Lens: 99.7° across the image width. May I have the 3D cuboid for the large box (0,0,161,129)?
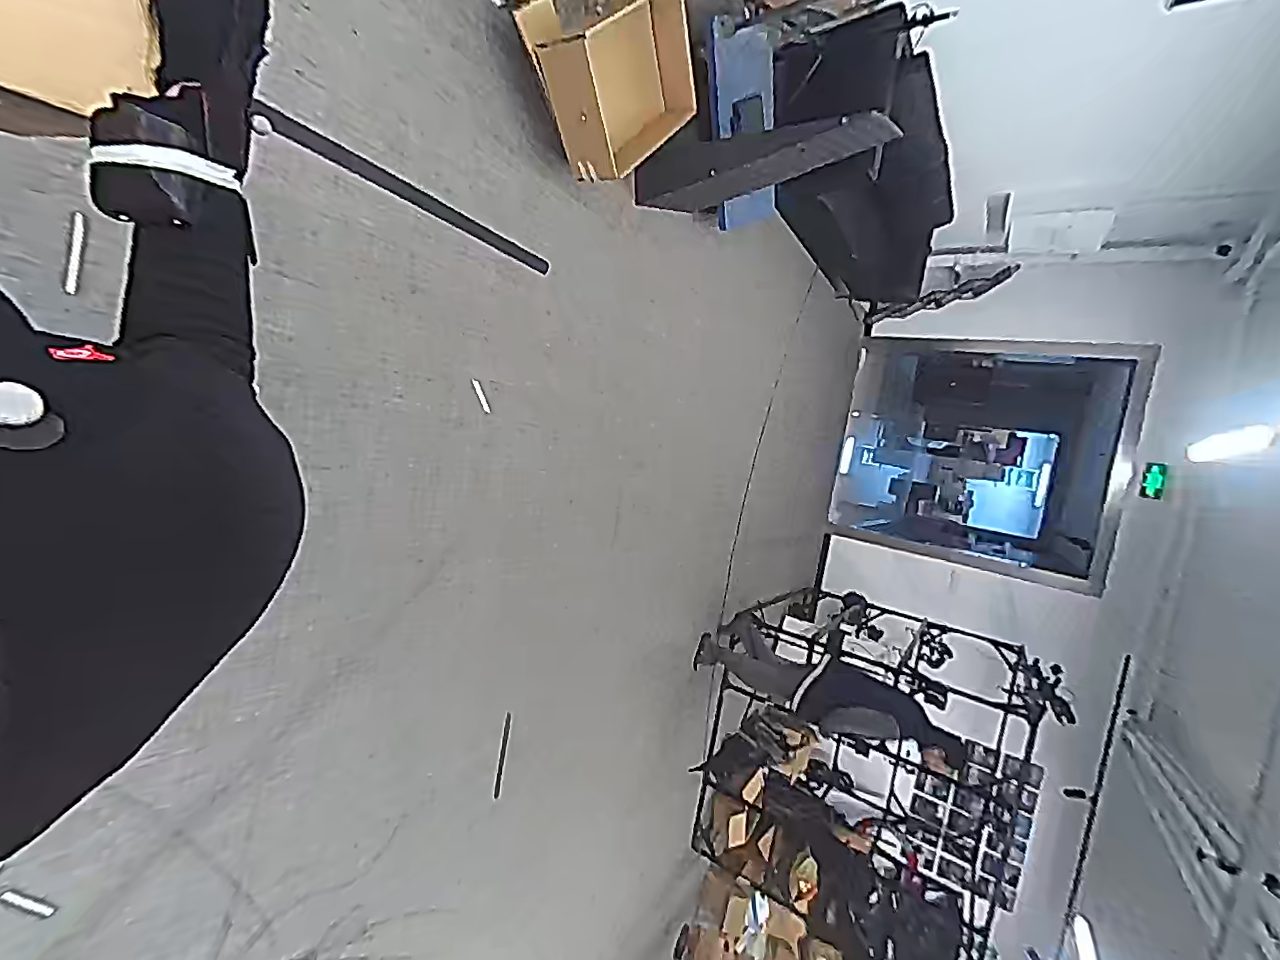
[{"bbox_3d":[-0.540,-0.419,0.252,0.408,0.320,0.320,-11,118,-60],"label":"large box"}]
